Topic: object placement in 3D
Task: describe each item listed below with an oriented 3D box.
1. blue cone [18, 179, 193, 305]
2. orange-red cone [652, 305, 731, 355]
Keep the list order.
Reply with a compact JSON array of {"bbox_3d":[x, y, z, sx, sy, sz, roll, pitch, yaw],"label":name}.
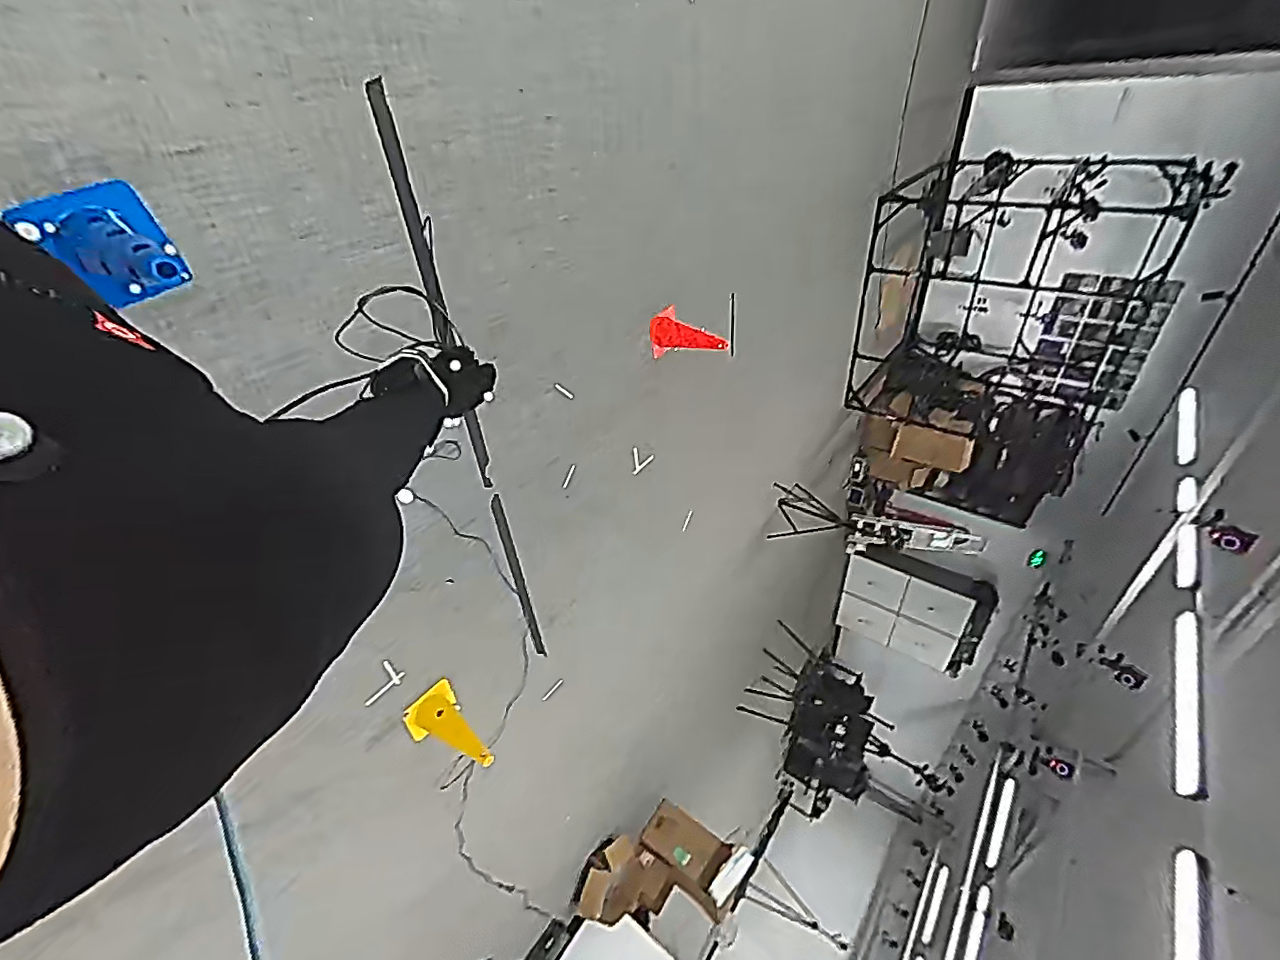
[{"bbox_3d":[-0.880,-0.397,0.942,0.192,0.380,0.193,-45,141,-34],"label":"blue cone"},{"bbox_3d":[0.256,-0.672,2.513,0.198,0.360,0.199,-45,140,-34],"label":"orange-red cone"}]
